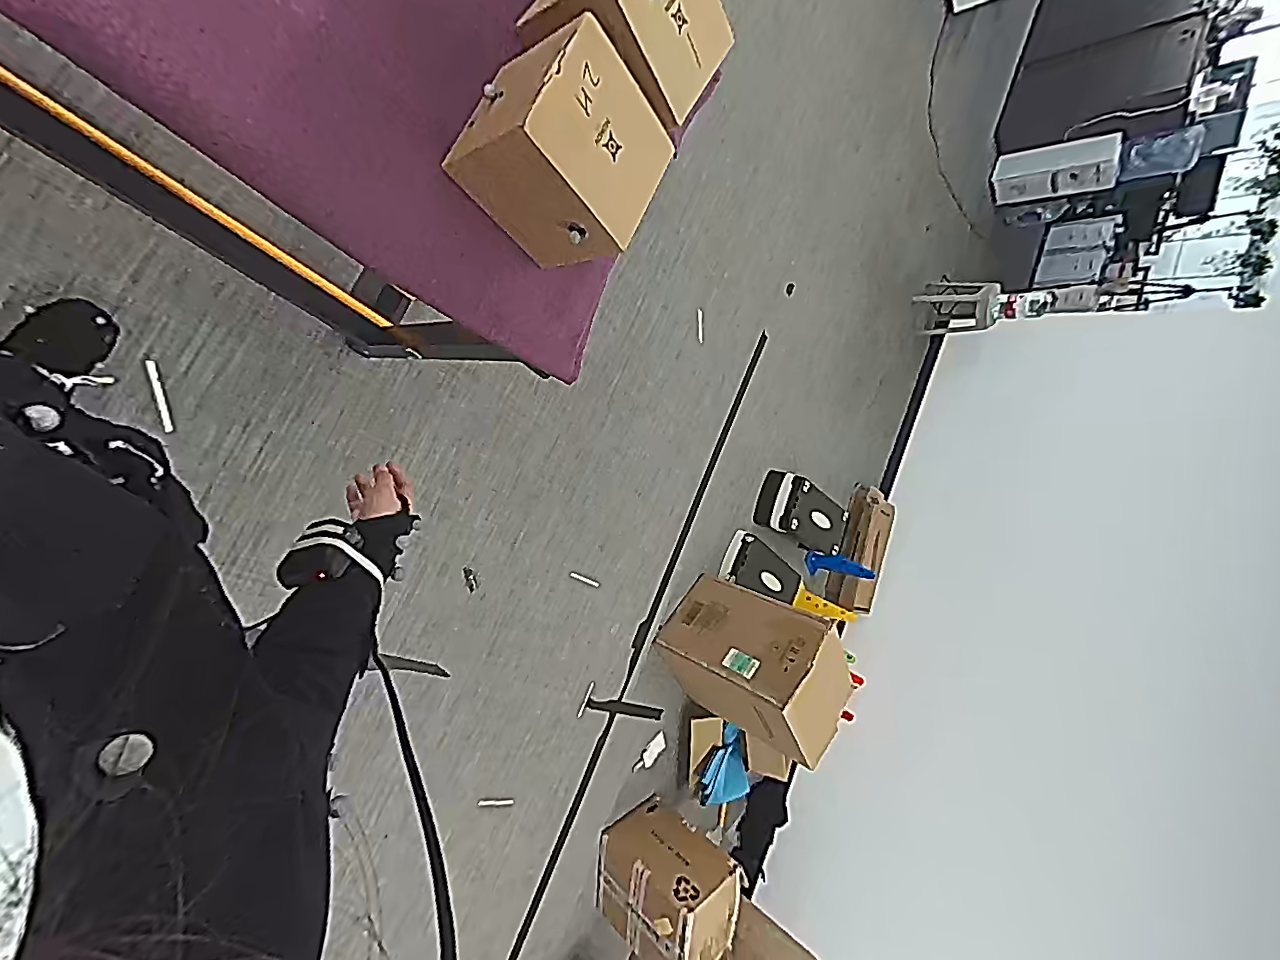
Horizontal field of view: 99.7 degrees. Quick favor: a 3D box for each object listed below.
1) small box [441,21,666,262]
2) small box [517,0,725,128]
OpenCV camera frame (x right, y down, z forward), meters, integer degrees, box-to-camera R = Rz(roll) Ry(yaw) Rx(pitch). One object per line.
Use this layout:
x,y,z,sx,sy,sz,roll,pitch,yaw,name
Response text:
-0.104,-0.392,0.665,0.179,0.176,0.168,37,71,-45,small box
-0.024,-0.572,0.702,0.179,0.176,0.168,44,70,-45,small box
